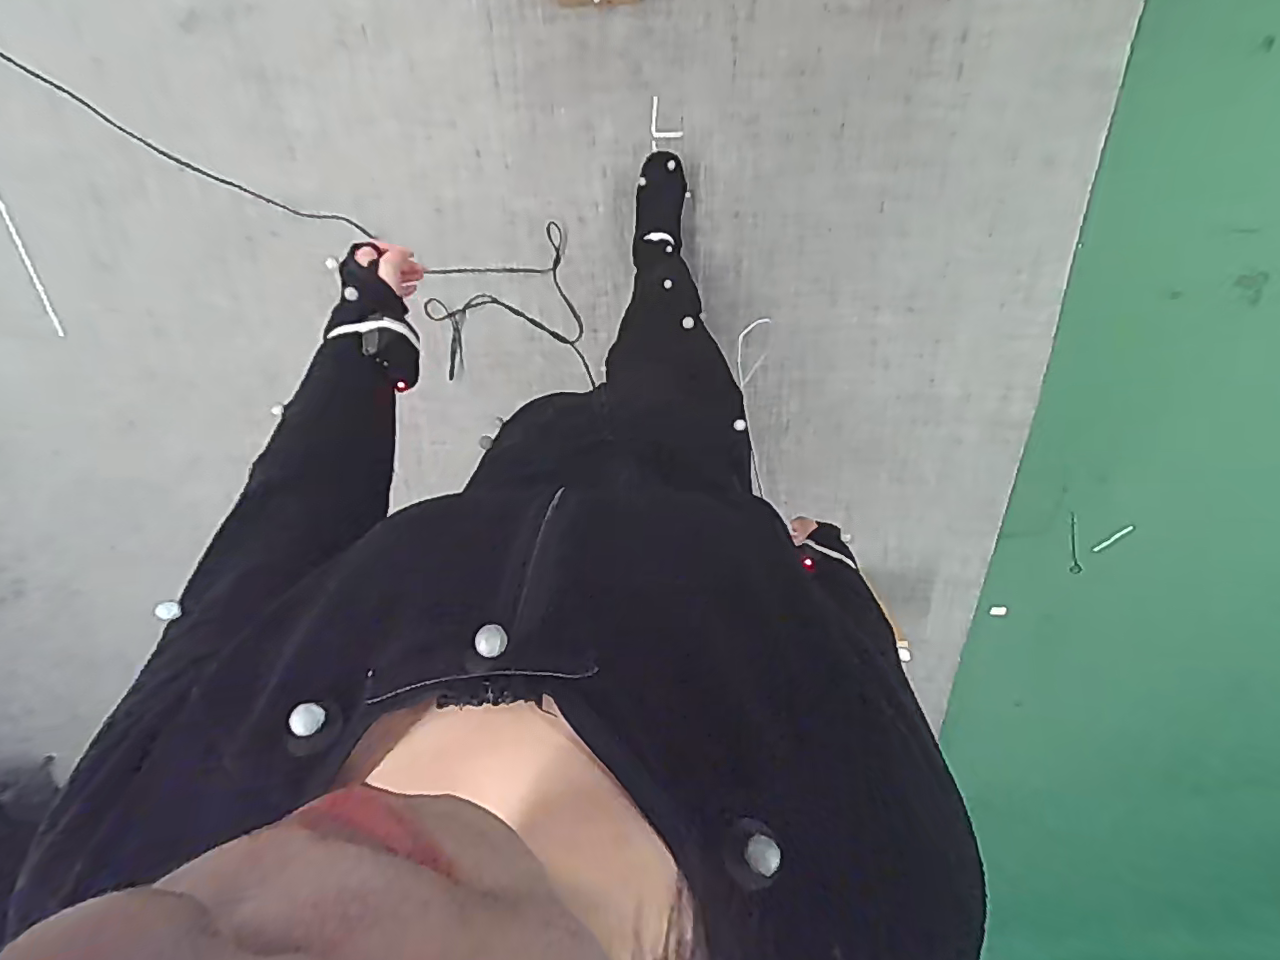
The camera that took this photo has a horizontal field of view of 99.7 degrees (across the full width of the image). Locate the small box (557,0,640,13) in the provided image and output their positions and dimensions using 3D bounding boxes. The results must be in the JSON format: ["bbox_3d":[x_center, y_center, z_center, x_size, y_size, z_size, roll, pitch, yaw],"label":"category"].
[{"bbox_3d":[-0.086,-1.003,1.006,0.168,0.176,0.179,-1,115,2],"label":"small box"}]
